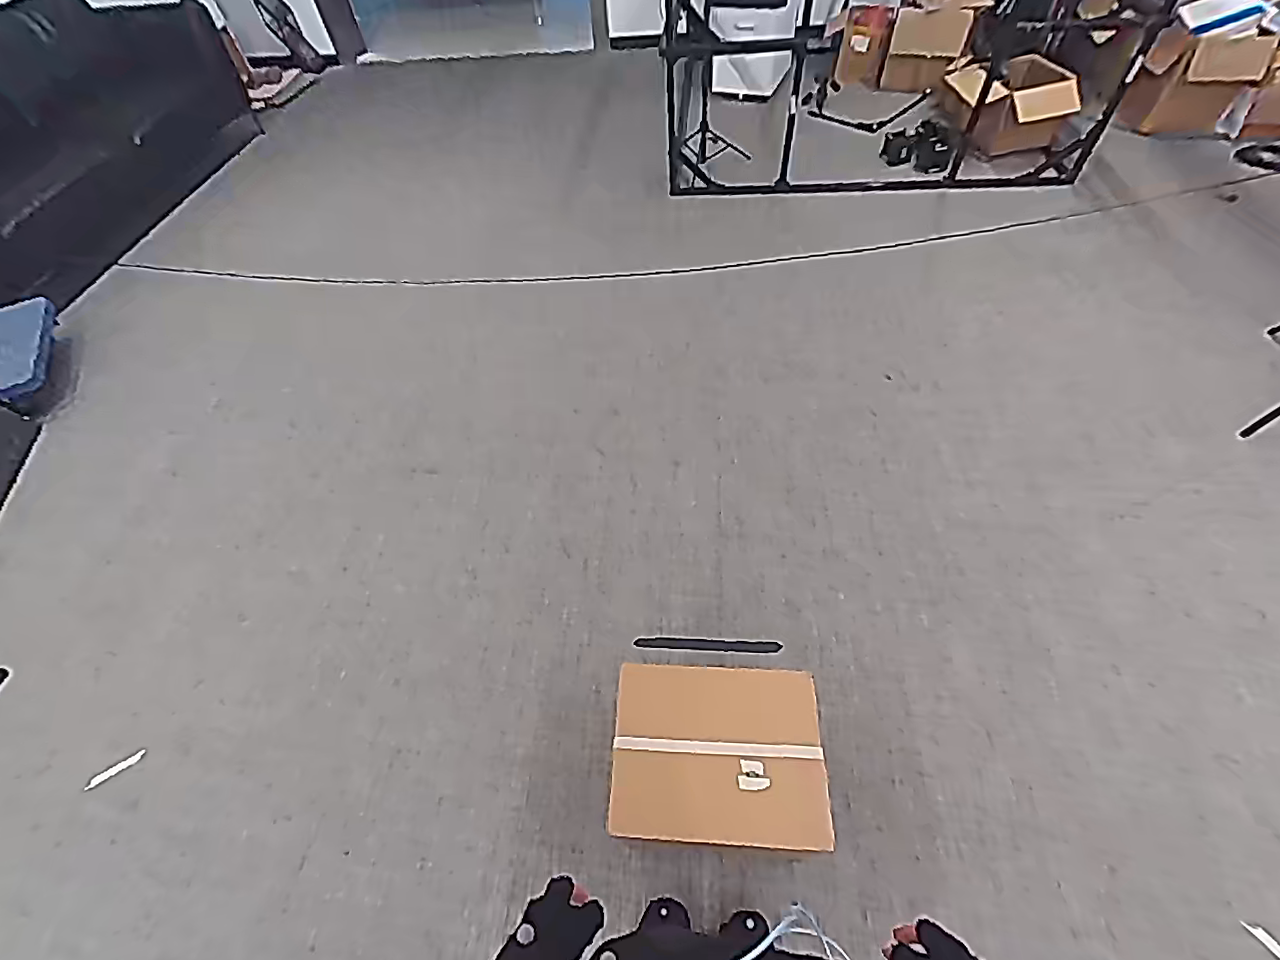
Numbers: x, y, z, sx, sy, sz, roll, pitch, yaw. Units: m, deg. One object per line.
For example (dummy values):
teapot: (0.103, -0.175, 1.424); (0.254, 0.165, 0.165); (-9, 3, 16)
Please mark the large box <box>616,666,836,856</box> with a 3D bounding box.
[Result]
large box: (0.168, 0.616, 1.178); (0.408, 0.320, 0.320); (1, 54, 5)
